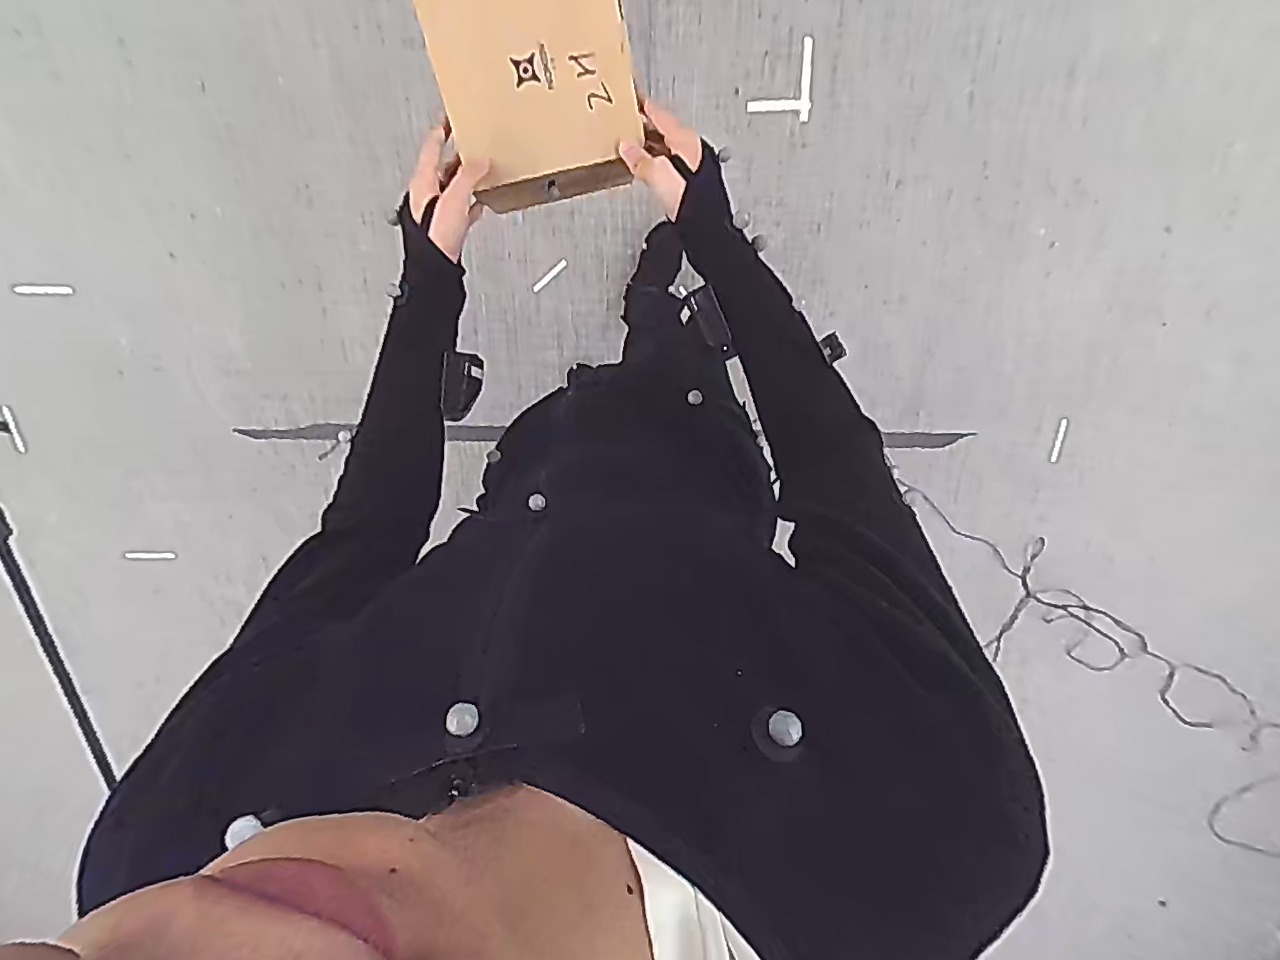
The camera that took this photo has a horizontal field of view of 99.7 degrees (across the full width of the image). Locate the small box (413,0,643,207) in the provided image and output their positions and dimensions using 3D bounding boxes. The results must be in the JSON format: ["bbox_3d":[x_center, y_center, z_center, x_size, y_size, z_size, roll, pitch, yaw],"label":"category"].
[{"bbox_3d":[-0.104,-0.395,0.558,0.179,0.176,0.168,-14,110,-2],"label":"small box"}]
